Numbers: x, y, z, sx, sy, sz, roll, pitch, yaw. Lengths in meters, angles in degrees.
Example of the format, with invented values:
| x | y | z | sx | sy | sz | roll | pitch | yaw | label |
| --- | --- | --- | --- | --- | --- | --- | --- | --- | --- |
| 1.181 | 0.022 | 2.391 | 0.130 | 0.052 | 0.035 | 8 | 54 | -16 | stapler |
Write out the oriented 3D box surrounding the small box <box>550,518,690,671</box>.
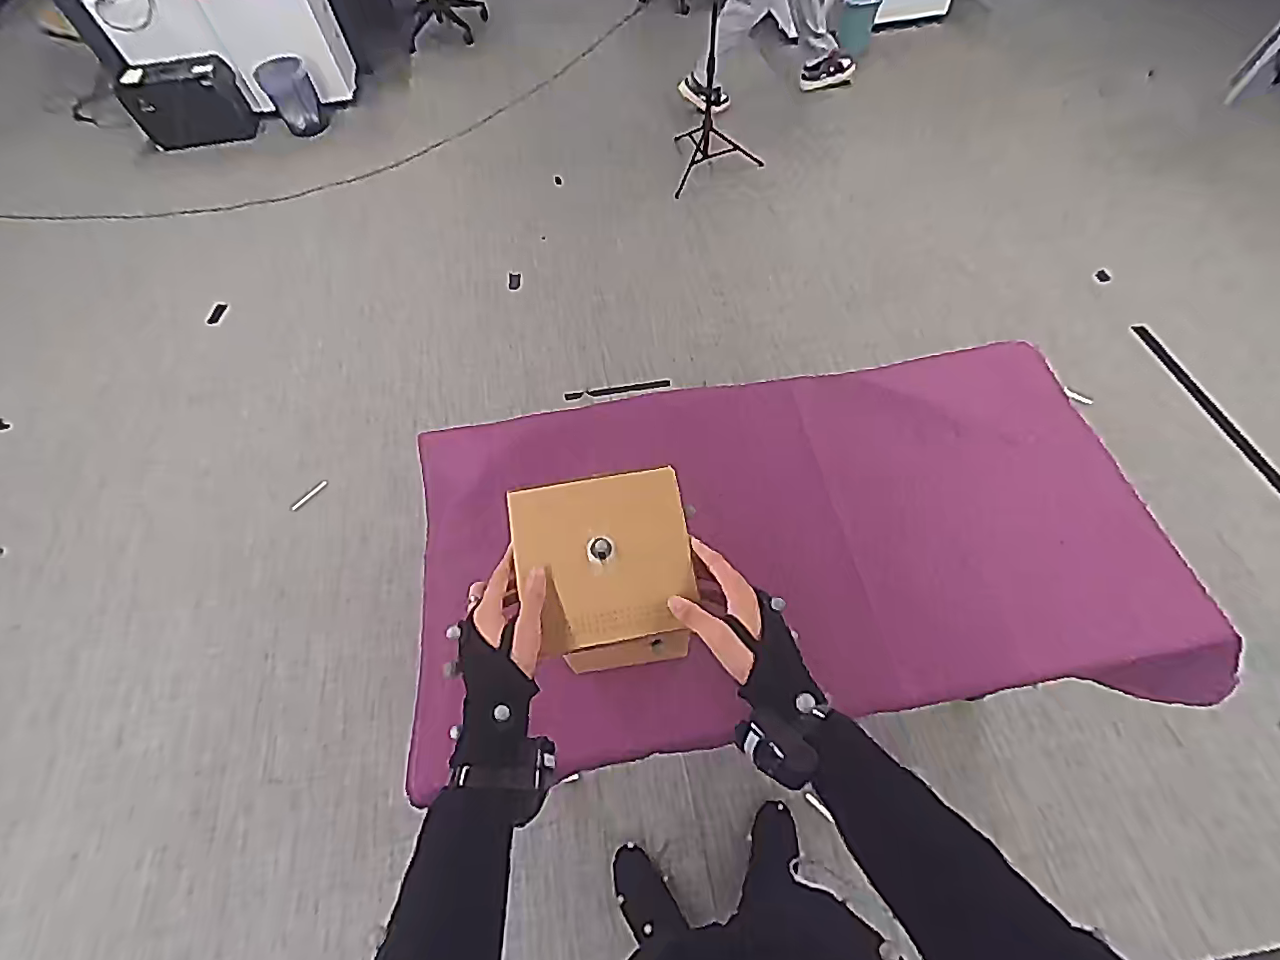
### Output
| x | y | z | sx | sy | sz | roll | pitch | yaw | label |
| --- | --- | --- | --- | --- | --- | --- | --- | --- | --- |
| -0.030 | 0.174 | 0.796 | 0.179 | 0.176 | 0.168 | -8 | 60 | -2 | small box |
